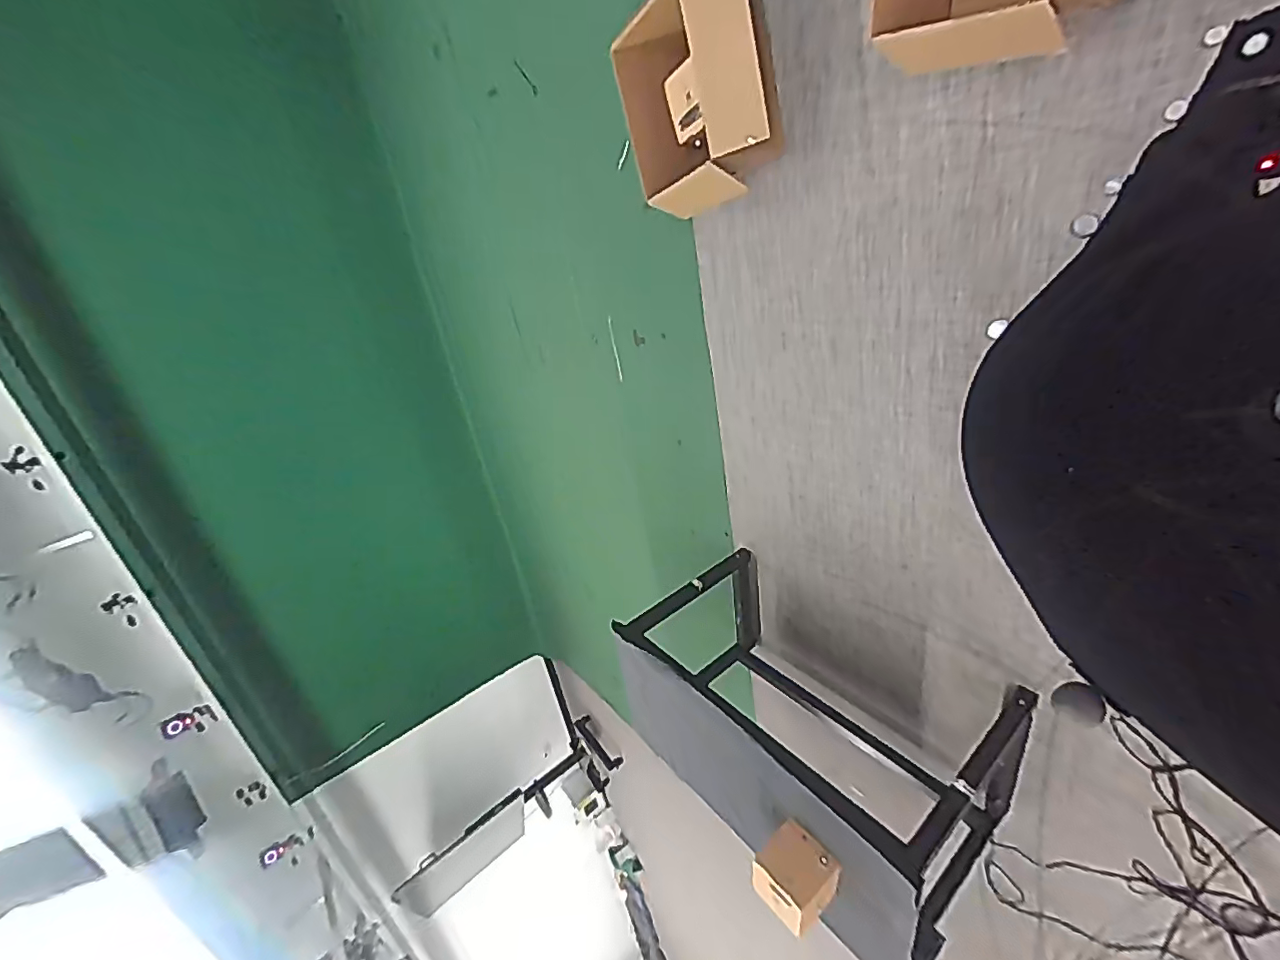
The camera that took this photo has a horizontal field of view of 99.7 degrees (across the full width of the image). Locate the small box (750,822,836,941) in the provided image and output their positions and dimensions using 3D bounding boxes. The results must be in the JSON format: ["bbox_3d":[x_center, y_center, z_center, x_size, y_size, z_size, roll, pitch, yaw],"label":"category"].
[{"bbox_3d":[0.425,1.108,1.505,0.168,0.176,0.179,29,135,45],"label":"small box"}]
